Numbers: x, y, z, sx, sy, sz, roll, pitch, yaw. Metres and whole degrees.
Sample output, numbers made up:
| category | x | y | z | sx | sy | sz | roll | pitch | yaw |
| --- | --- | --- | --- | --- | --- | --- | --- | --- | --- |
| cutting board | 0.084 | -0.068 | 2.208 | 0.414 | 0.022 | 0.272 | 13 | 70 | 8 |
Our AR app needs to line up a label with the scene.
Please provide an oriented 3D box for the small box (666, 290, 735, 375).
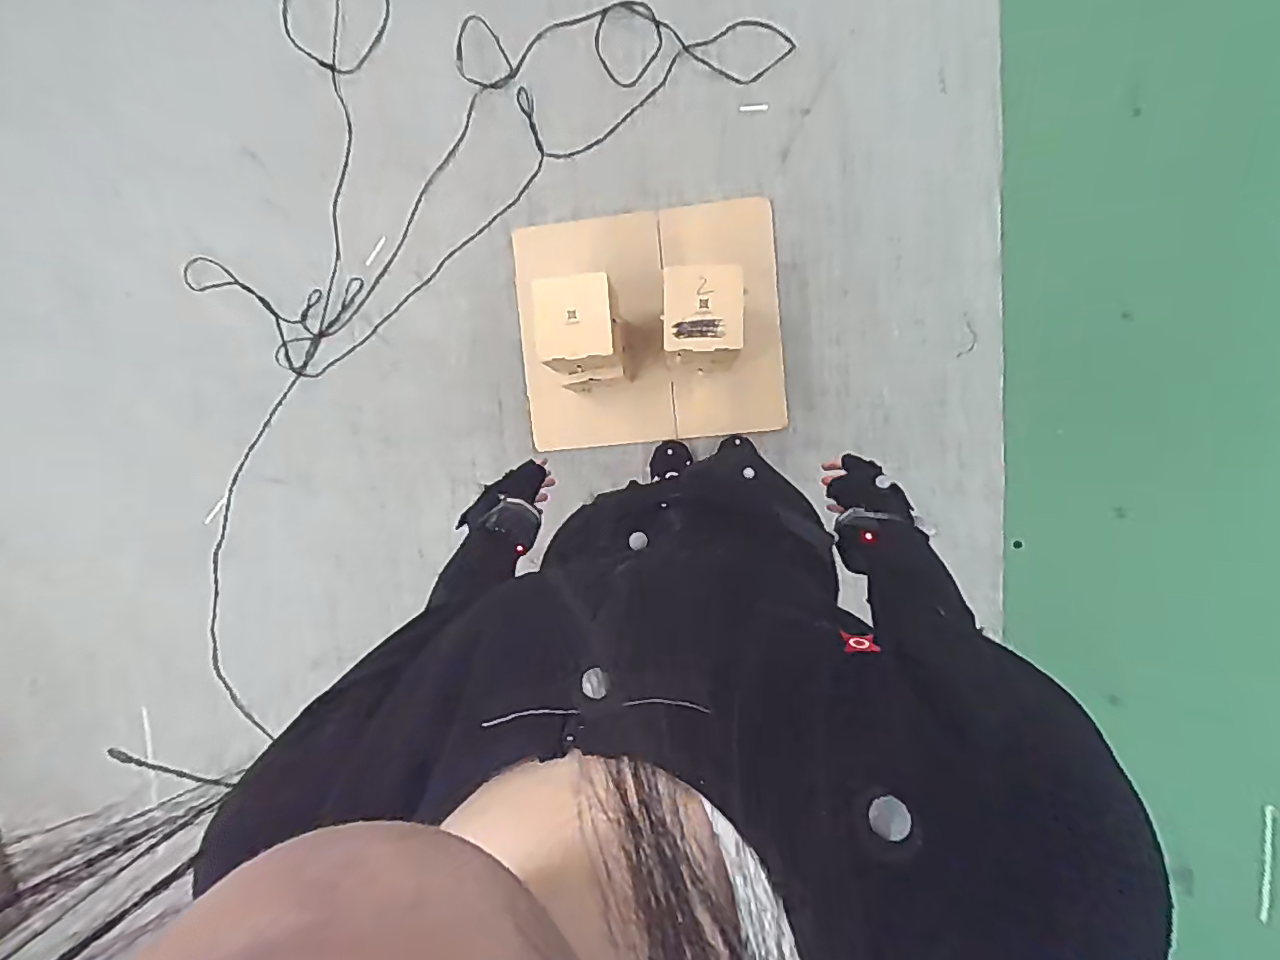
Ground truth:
| category | x | y | z | sx | sy | sz | roll | pitch | yaw |
| --- | --- | --- | --- | --- | --- | --- | --- | --- | --- |
| small box | 0.150 | -0.365 | 1.361 | 0.168 | 0.176 | 0.179 | 0 | 94 | 6 |

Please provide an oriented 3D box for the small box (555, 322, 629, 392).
| category | x | y | z | sx | sy | sz | roll | pitch | yaw |
| --- | --- | --- | --- | --- | --- | --- | --- | --- | --- |
| small box | -0.124 | -0.324 | 1.386 | 0.168 | 0.176 | 0.179 | -7 | 93 | 6 |

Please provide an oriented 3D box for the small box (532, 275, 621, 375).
| category | x | y | z | sx | sy | sz | roll | pitch | yaw |
| --- | --- | --- | --- | --- | --- | --- | --- | --- | --- |
| small box | -0.137 | -0.343 | 1.223 | 0.168 | 0.176 | 0.179 | -4 | 93 | 5 |
